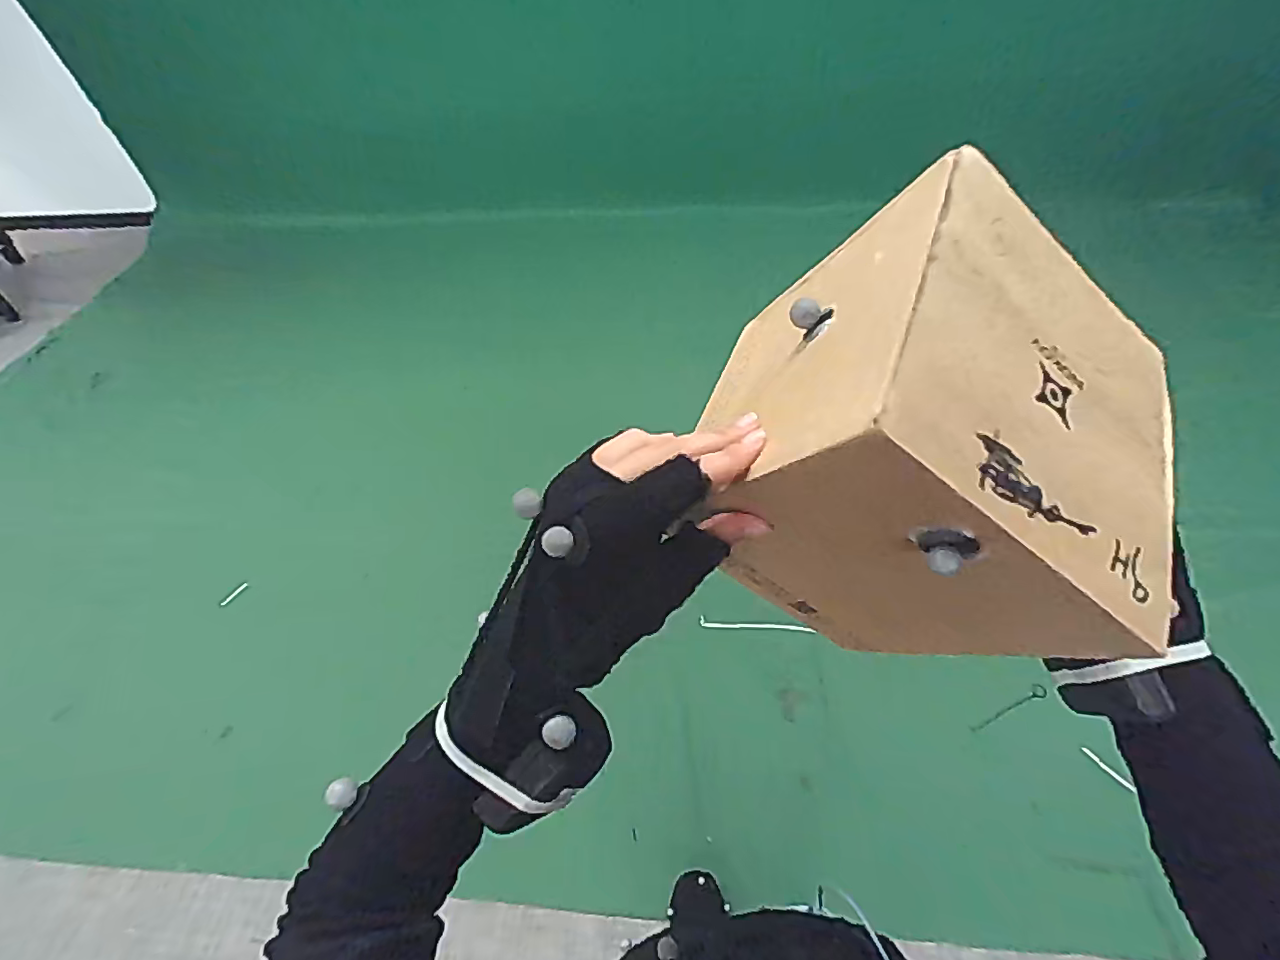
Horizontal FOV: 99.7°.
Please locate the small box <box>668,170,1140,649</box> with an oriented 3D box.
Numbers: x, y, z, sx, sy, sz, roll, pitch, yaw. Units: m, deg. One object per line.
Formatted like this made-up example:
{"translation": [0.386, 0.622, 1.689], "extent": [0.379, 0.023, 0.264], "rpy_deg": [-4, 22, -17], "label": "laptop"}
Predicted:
{"translation": [0.141, -0.020, 0.314], "extent": [0.168, 0.176, 0.179], "rpy_deg": [33, 63, -15], "label": "small box"}
